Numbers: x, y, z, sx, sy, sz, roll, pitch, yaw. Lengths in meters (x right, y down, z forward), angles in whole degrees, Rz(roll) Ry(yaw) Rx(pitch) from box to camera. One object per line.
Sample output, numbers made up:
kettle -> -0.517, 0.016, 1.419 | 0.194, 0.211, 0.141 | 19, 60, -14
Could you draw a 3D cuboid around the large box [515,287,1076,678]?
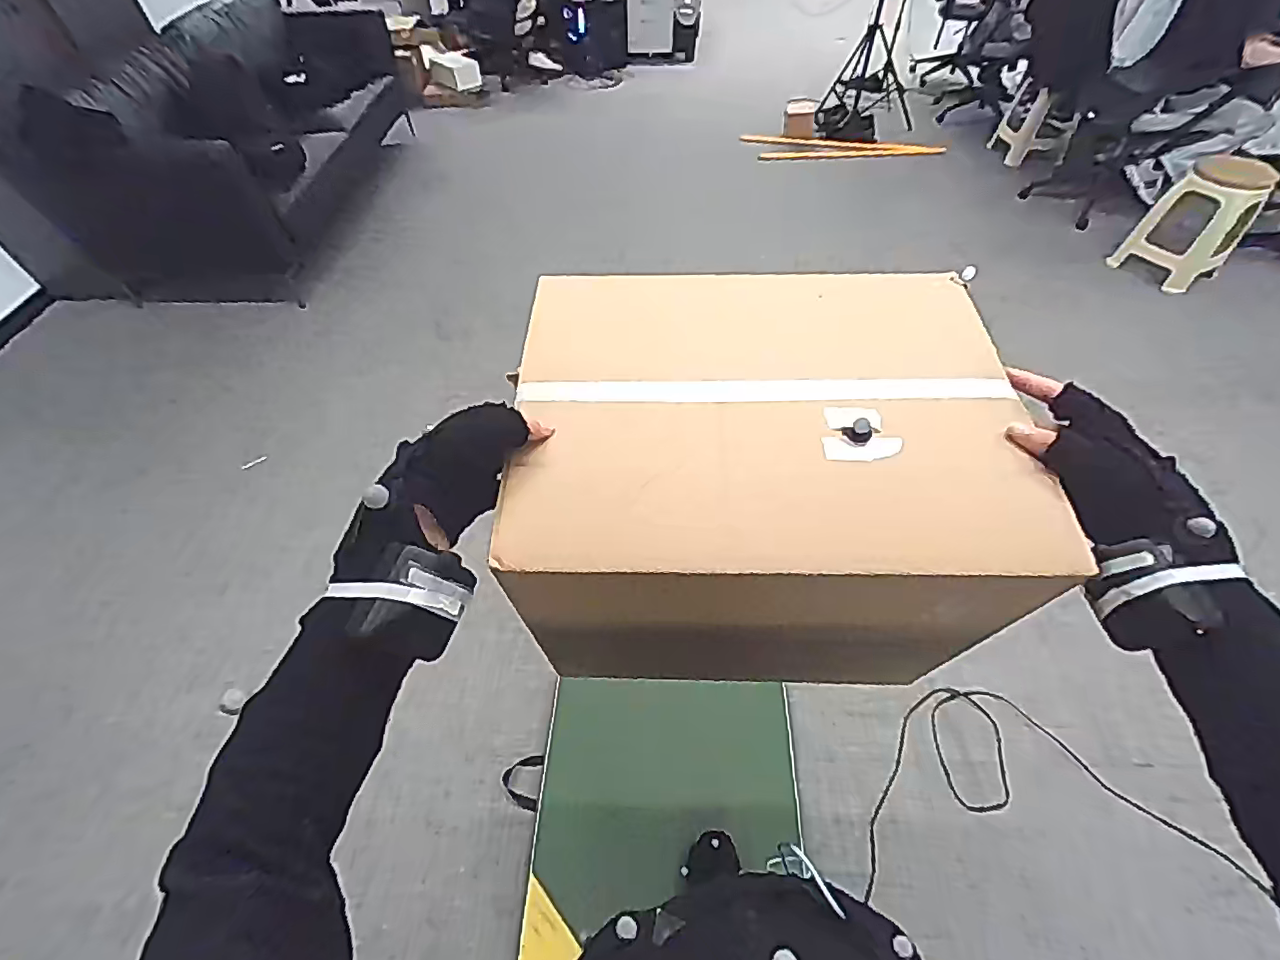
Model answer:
large box -> 0.108, 0.017, 0.582 | 0.408, 0.320, 0.320 | 0, 57, 1
